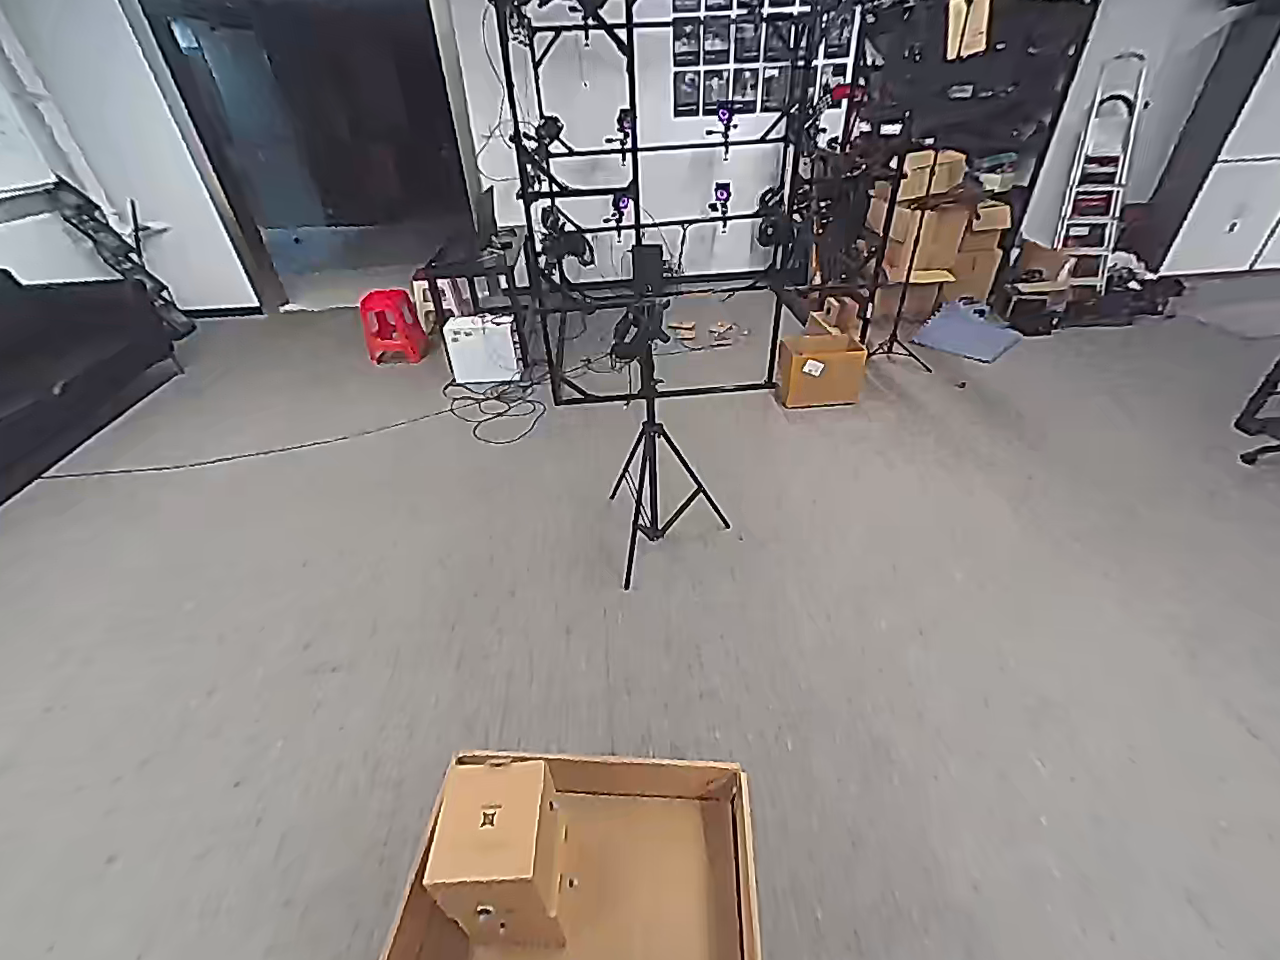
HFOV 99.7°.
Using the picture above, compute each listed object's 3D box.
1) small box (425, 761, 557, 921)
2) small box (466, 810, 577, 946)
[{"bbox_3d":[-0.236,0.604,0.910,0.168,0.176,0.179,-3,35,1],"label":"small box"},{"bbox_3d":[-0.220,0.738,1.005,0.179,0.176,0.168,-1,36,2],"label":"small box"}]
